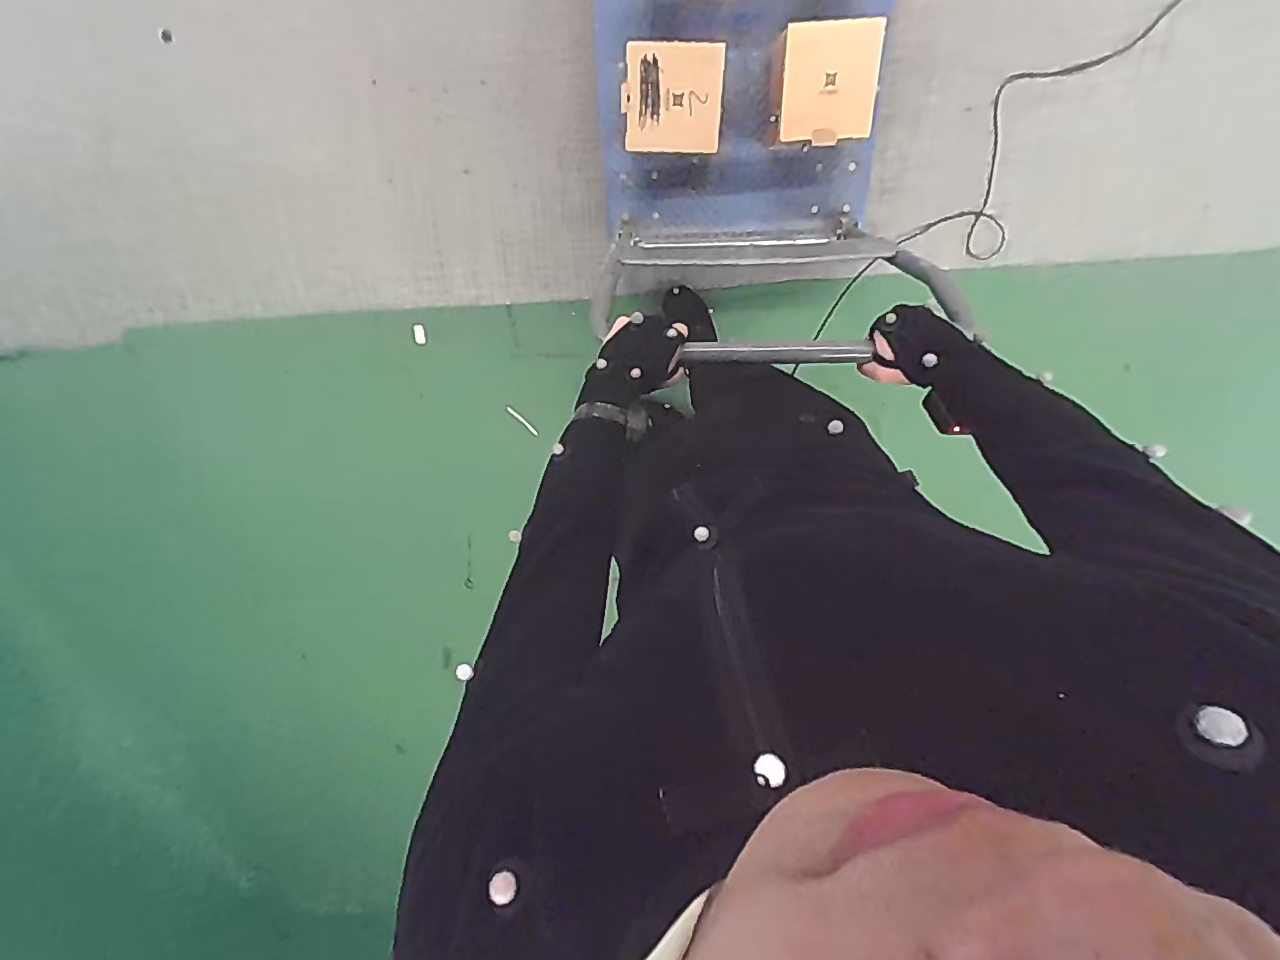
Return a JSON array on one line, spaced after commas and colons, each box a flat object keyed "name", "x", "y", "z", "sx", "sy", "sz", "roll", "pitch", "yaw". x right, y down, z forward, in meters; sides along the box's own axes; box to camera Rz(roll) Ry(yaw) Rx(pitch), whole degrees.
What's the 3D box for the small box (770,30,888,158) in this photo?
[{"name": "small box", "x": 0.346, "y": -0.723, "z": 1.029, "sx": 0.168, "sy": 0.176, "sz": 0.179, "roll": 0, "pitch": 119, "yaw": 4}]
